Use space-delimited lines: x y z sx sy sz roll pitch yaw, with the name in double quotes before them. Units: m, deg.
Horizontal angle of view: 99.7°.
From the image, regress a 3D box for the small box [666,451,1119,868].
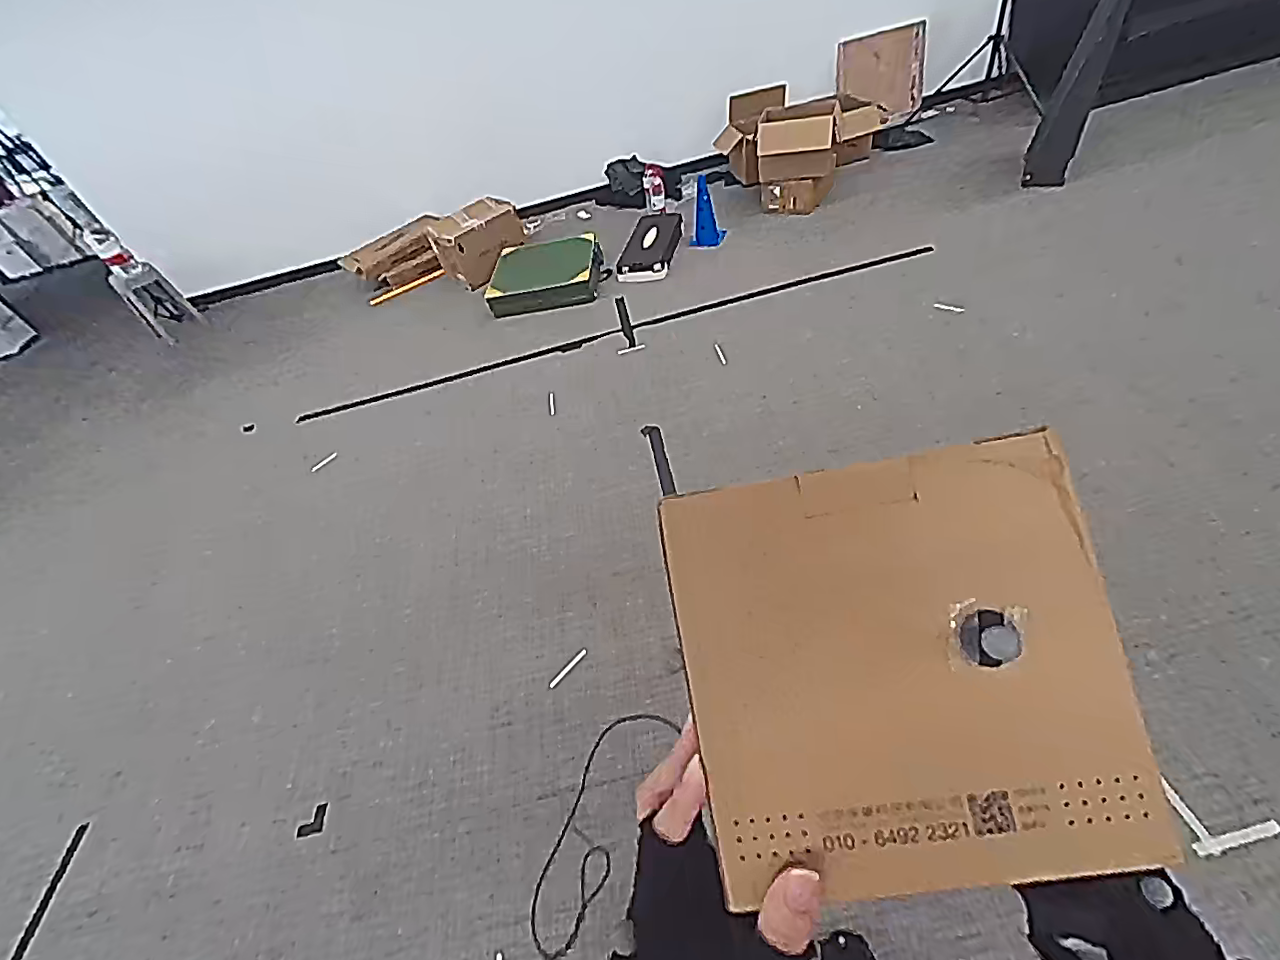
"small box" 0.117 0.093 0.314 0.168 0.179 0.176 -11 82 7
